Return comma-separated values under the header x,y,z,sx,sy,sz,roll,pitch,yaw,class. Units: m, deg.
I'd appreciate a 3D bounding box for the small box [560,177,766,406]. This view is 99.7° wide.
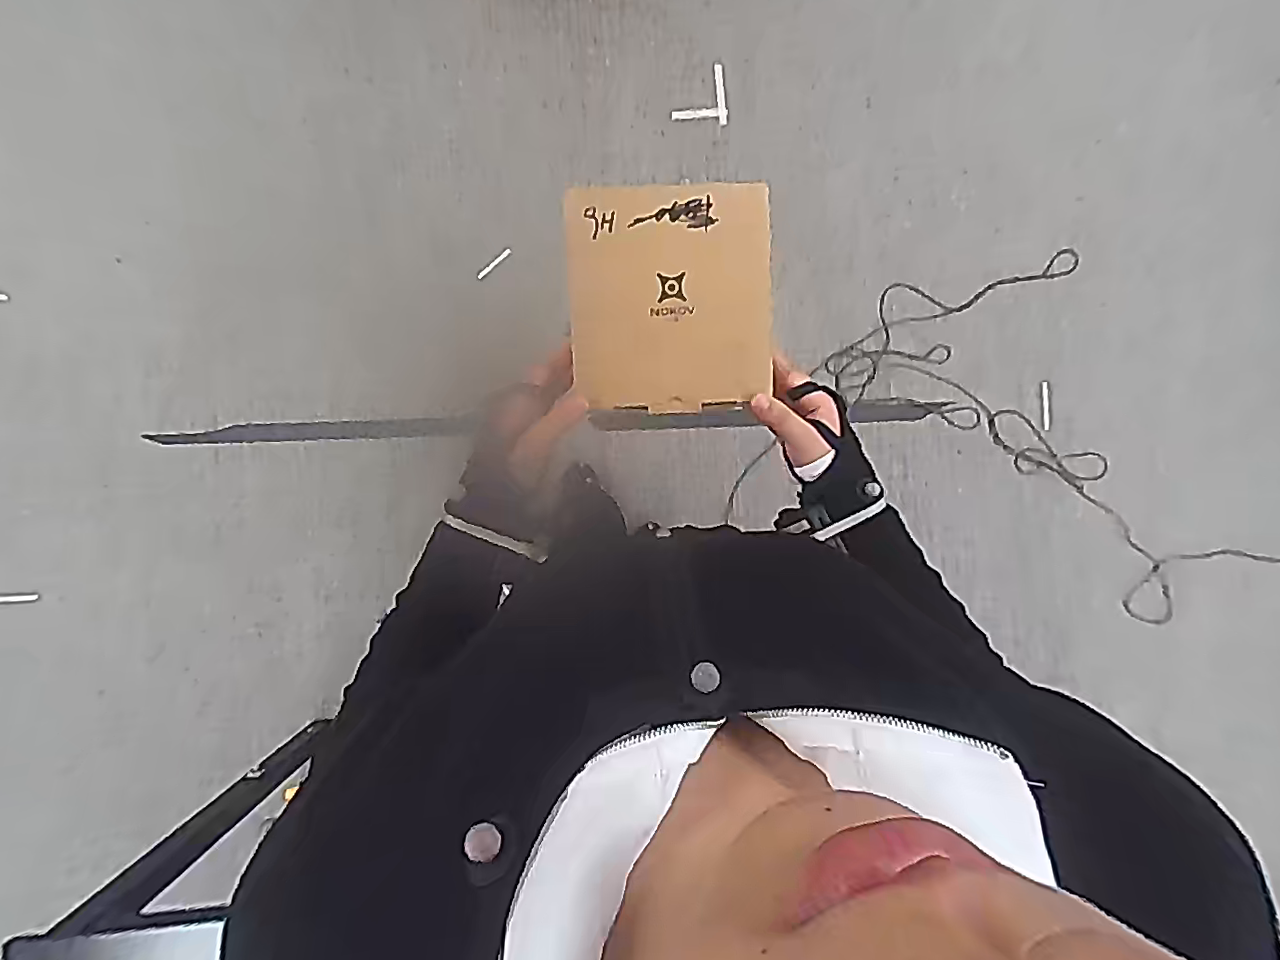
x,y,z,sx,sy,sz,roll,pitch,yaw,class
0.019,-0.163,0.519,0.168,0.176,0.179,-3,97,-2,small box
